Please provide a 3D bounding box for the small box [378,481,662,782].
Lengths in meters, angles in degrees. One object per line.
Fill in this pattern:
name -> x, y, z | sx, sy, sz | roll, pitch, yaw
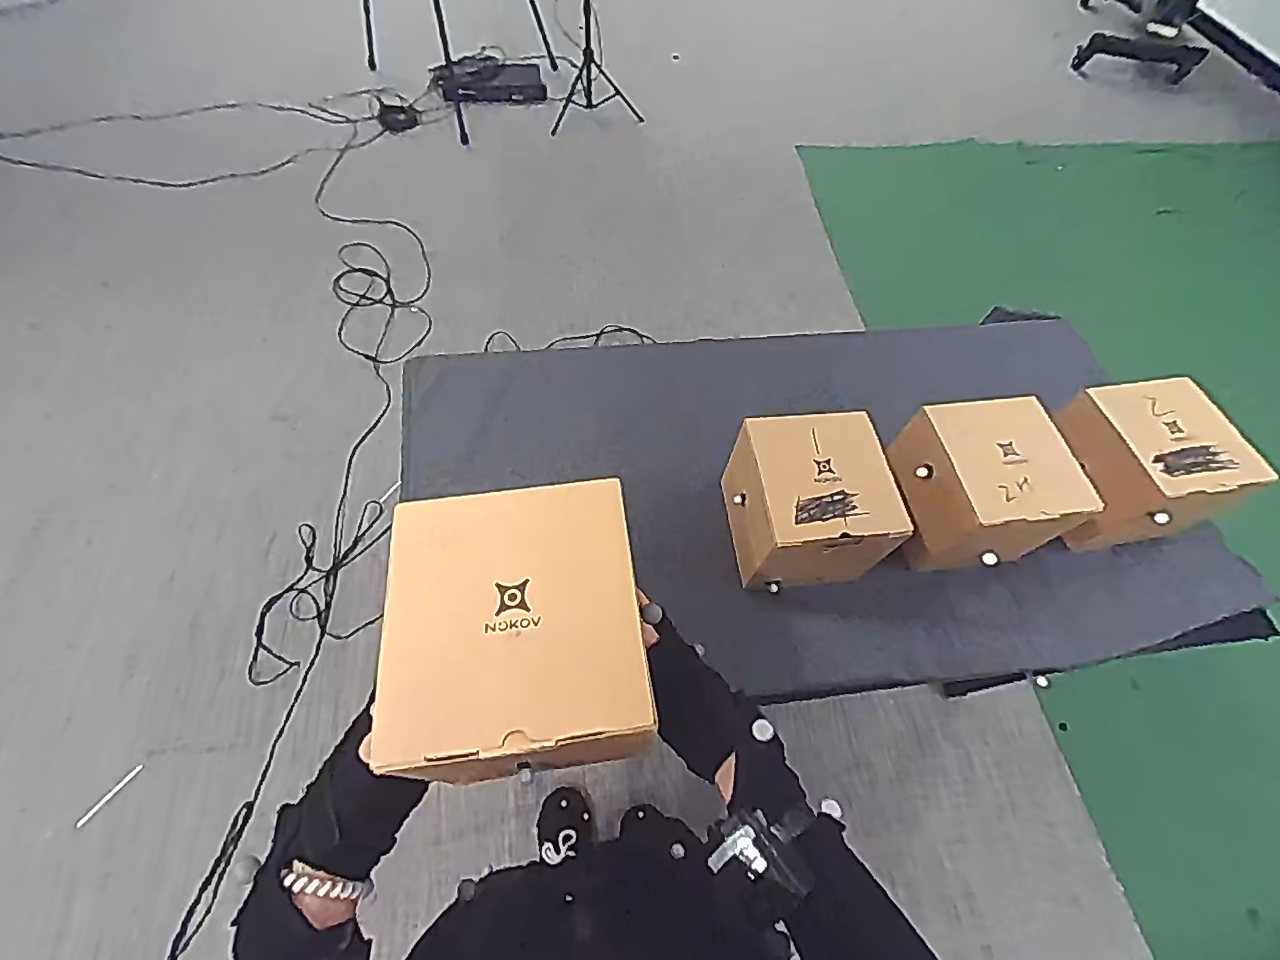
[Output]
small box -> -0.081, 0.123, 0.423 | 0.168, 0.176, 0.179 | -7, 59, -6

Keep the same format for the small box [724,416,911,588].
small box -> 0.219, 0.037, 0.720 | 0.168, 0.176, 0.179 | -4, 60, -6

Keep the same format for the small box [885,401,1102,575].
small box -> 0.459, 0.014, 0.748 | 0.168, 0.176, 0.179 | -6, 61, -7
